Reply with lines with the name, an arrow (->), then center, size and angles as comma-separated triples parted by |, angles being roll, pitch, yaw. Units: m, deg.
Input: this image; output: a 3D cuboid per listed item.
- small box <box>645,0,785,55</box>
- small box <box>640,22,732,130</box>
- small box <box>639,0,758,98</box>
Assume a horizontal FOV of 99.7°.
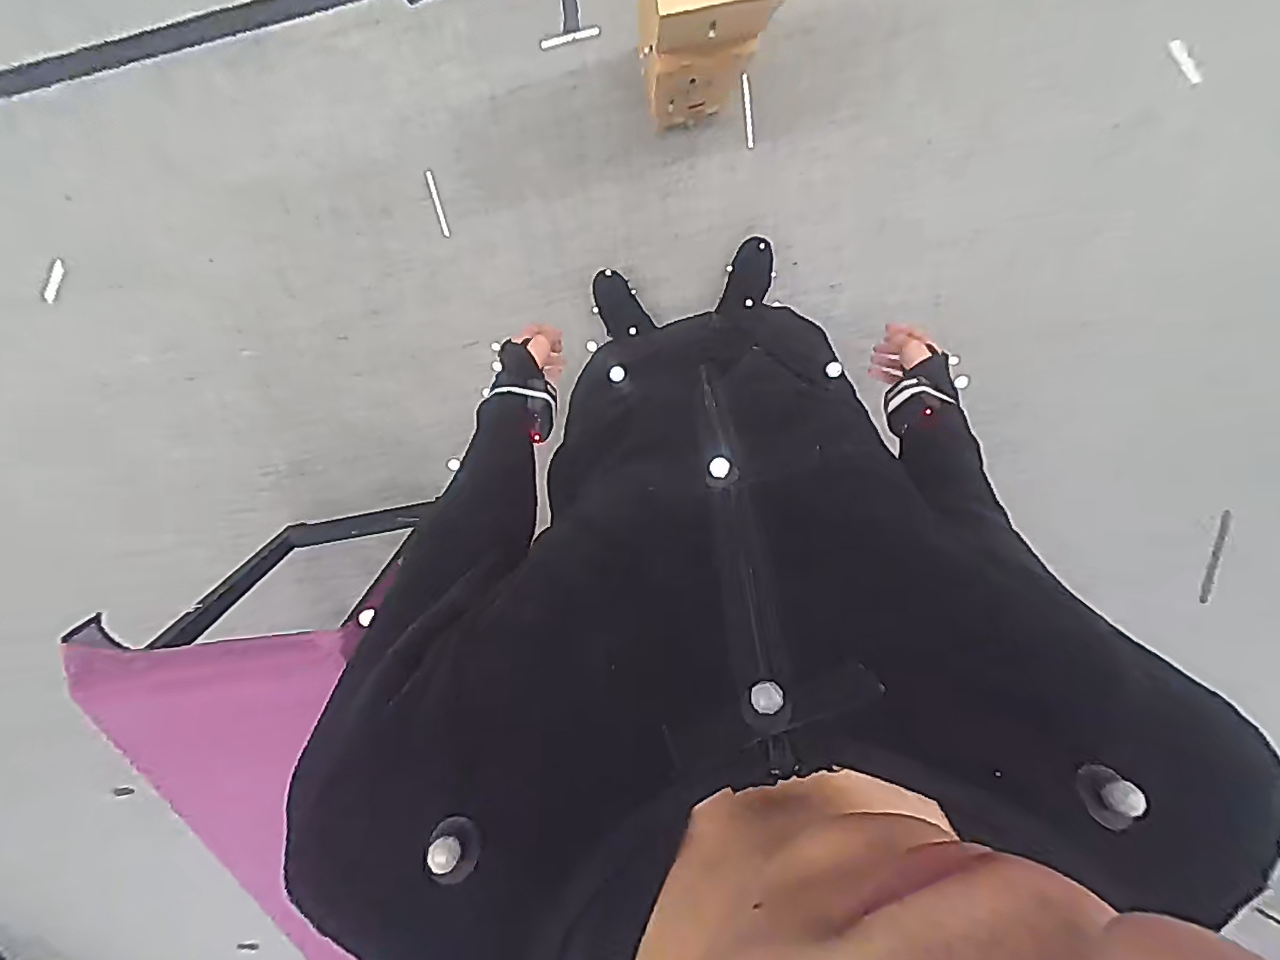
small box -> 0.094, -0.719, 0.742 | 0.179, 0.176, 0.168 | -8, 115, 4
small box -> 0.097, -0.906, 1.197 | 0.168, 0.176, 0.179 | -13, 116, 6
small box -> 0.091, -0.771, 0.899 | 0.168, 0.176, 0.179 | -10, 115, 4
